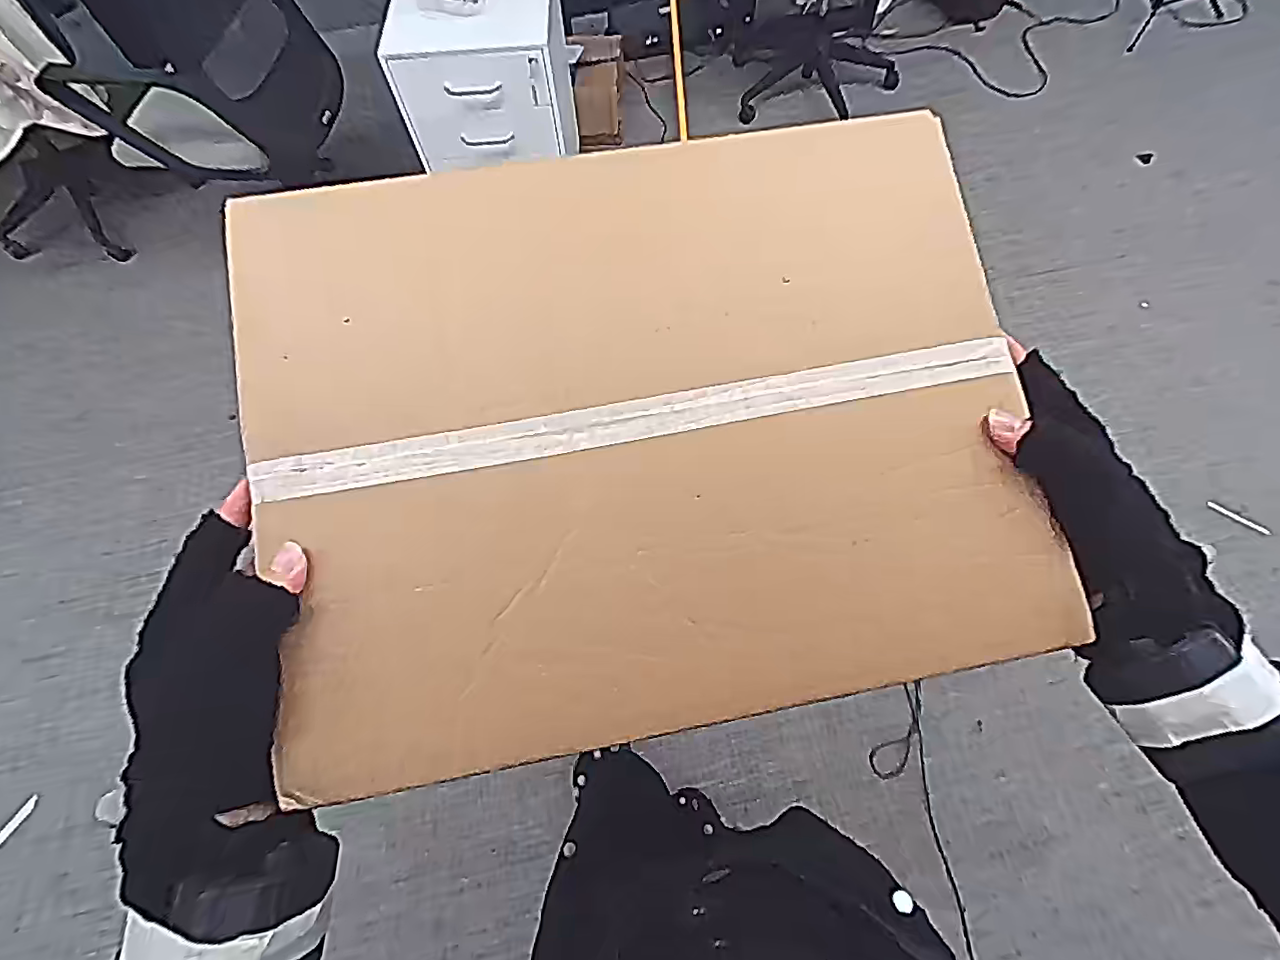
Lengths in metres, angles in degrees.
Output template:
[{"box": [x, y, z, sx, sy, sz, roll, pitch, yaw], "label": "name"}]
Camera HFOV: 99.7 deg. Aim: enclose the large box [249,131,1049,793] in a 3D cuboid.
[{"box": [-0.004, -0.011, 0.444, 0.408, 0.320, 0.320, -10, 81, -4], "label": "large box"}]
